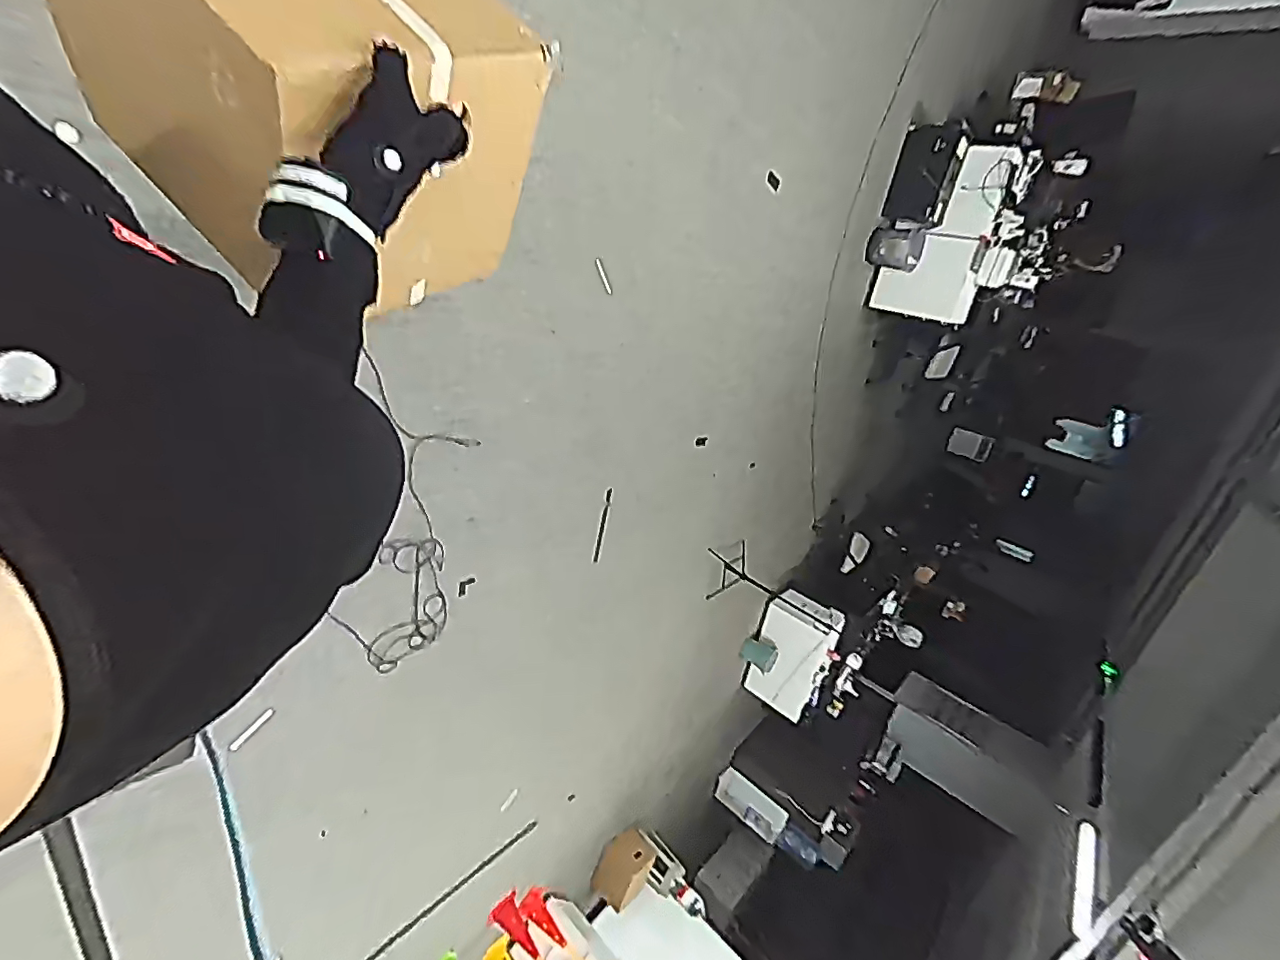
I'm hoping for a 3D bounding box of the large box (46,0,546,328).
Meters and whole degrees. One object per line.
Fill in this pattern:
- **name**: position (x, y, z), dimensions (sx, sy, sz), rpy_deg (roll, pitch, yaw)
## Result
- **large box**: position (-0.392, -0.464, 0.631), dimensions (0.320, 0.408, 0.320), rpy_deg (-42, 176, -37)
